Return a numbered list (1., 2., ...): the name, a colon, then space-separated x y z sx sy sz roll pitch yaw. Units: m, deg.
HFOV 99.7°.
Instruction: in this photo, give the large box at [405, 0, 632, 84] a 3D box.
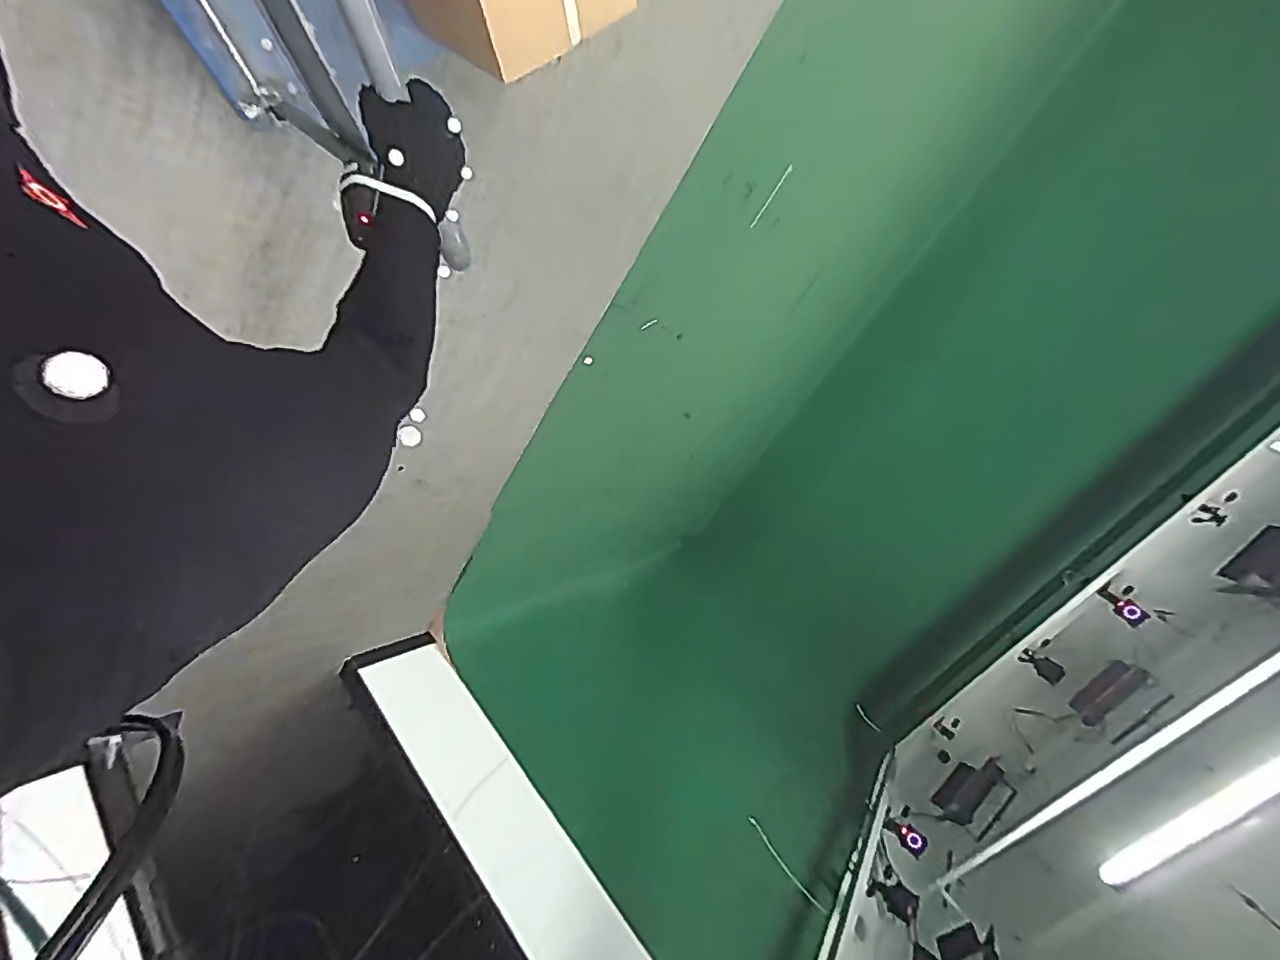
1. large box: -0.249 -0.958 0.855 0.320 0.320 0.408 -41 155 -13
